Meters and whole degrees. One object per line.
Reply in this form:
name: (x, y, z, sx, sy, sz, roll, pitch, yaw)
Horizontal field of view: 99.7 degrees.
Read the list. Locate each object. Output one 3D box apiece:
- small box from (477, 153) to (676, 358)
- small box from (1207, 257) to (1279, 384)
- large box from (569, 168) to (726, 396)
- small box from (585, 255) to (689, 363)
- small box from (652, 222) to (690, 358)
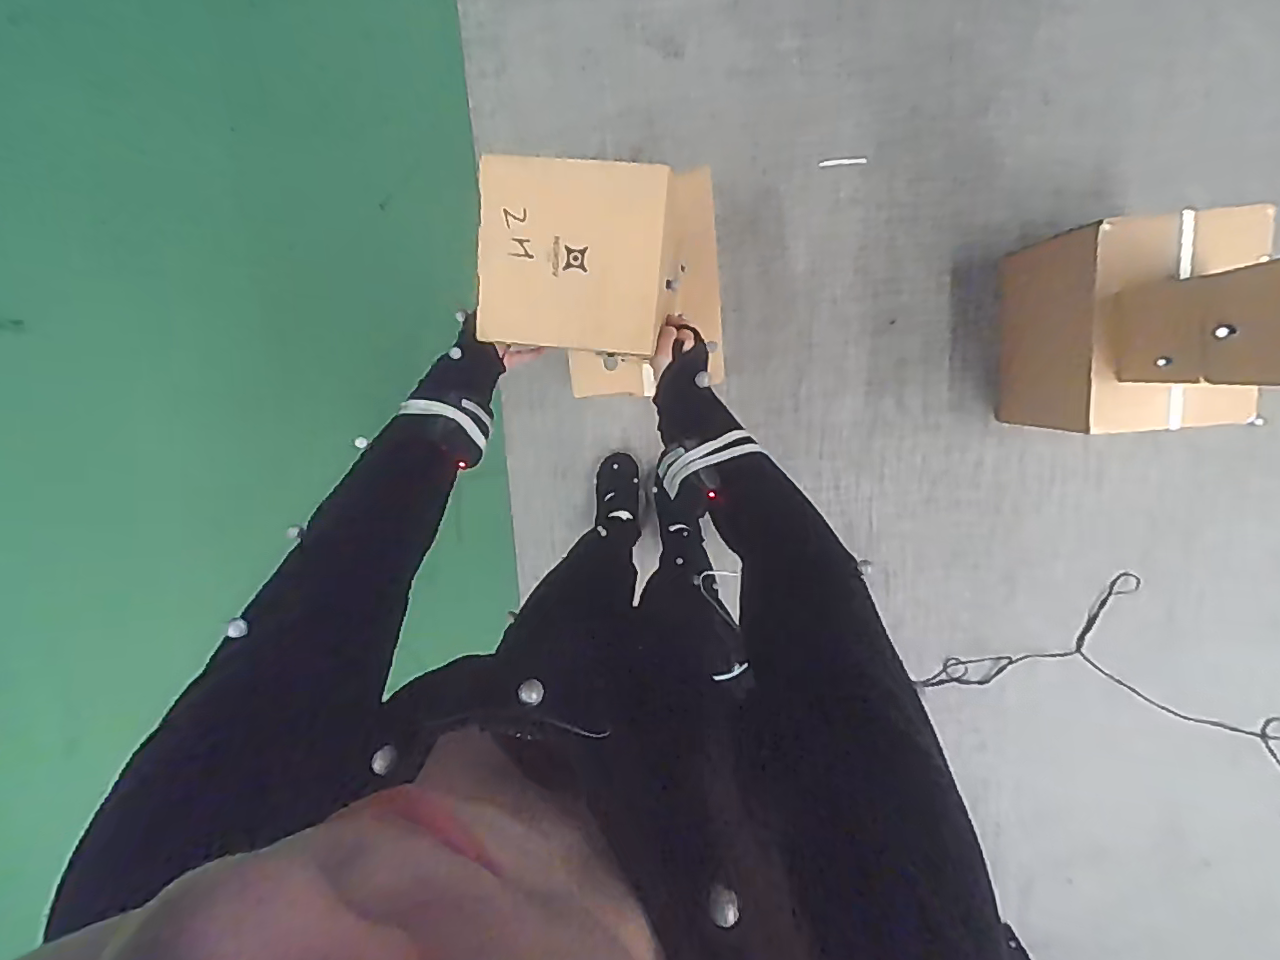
small box: (-0.057, -0.227, 0.586, 0.179, 0.176, 0.168, 8, 102, 5)
small box: (0.984, -0.240, 0.781, 0.168, 0.176, 0.179, -13, 101, 6)
large box: (0.010, -0.407, 1.210, 0.320, 0.320, 0.408, -5, 100, 4)
small box: (-0.006, -0.310, 0.981, 0.168, 0.176, 0.179, 6, 102, 3)
small box: (-0.022, -0.287, 0.820, 0.168, 0.176, 0.179, 10, 103, 3)
